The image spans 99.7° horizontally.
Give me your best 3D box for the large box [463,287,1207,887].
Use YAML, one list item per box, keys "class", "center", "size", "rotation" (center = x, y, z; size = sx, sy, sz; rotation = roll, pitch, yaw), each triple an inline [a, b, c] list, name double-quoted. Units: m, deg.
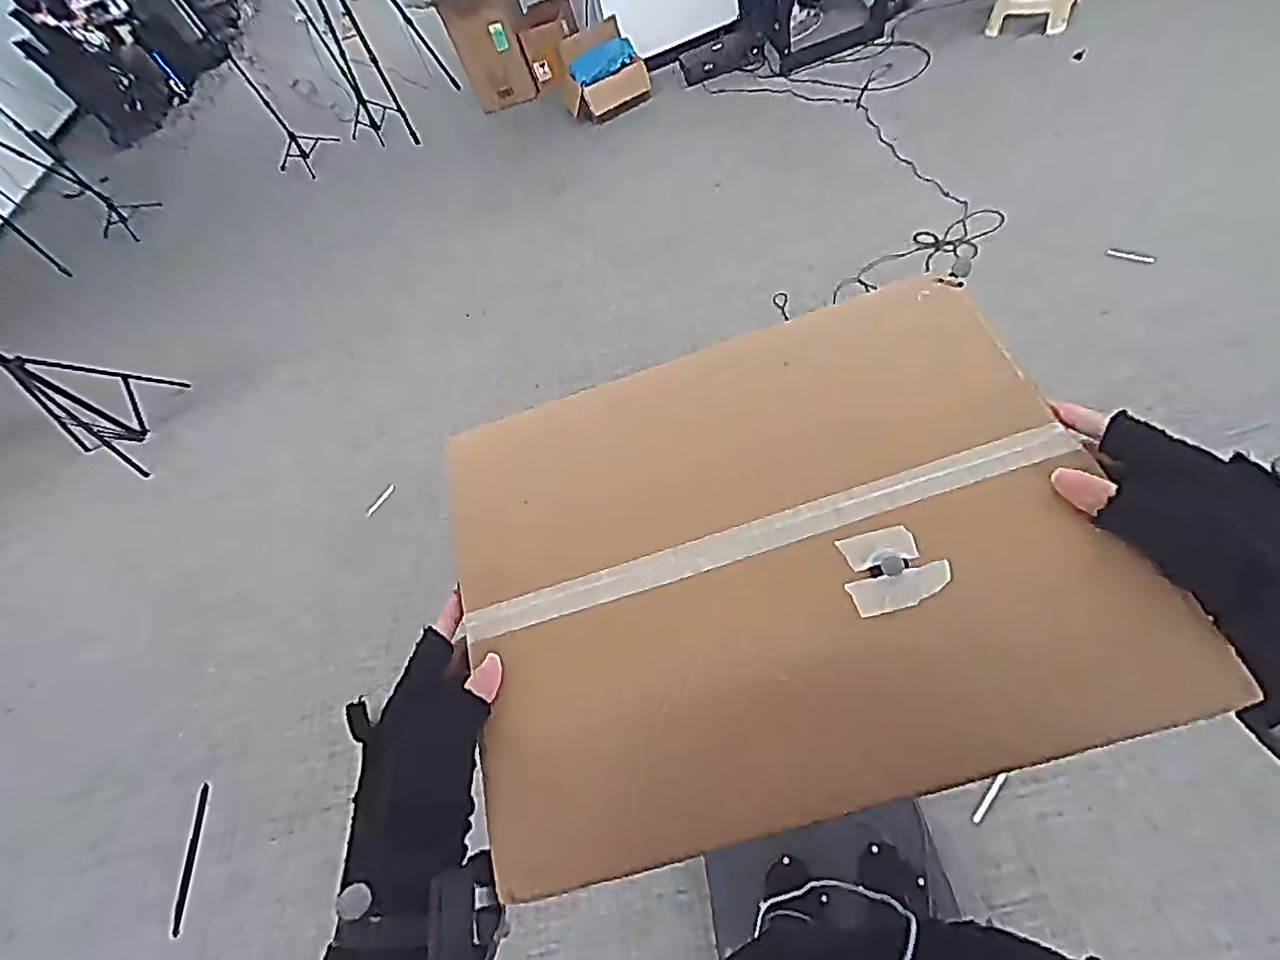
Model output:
- class: "large box"
  center: [0.107, 0.103, 0.497]
  size: [0.408, 0.320, 0.320]
  rotation: [-18, 64, 4]
